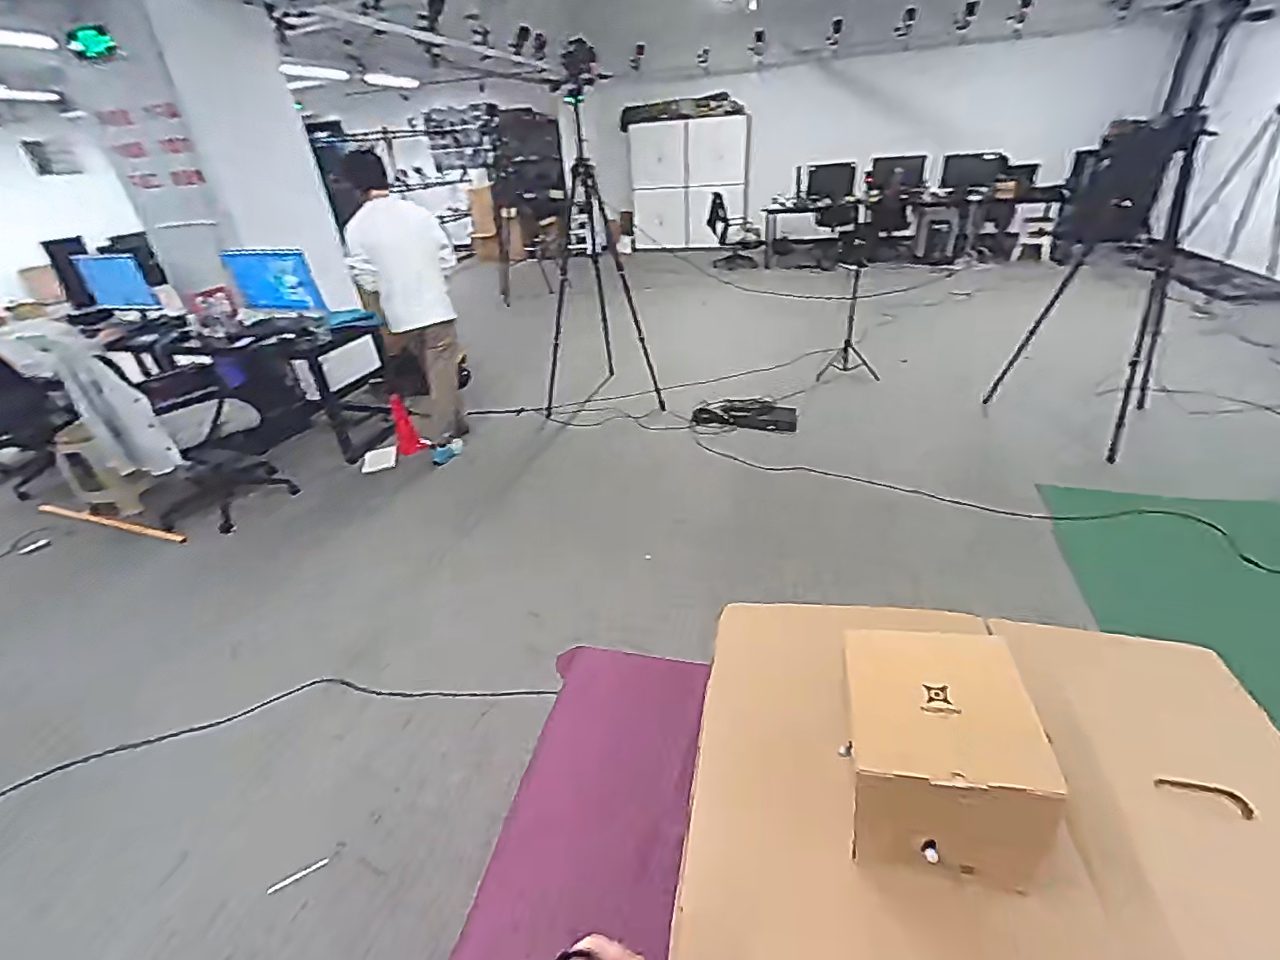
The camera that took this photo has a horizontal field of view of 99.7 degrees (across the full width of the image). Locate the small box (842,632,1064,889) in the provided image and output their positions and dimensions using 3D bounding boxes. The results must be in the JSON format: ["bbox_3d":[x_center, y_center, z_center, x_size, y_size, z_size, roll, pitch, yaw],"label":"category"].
[{"bbox_3d":[0.309,0.290,0.580,0.168,0.176,0.179,-2,32,17],"label":"small box"}]
